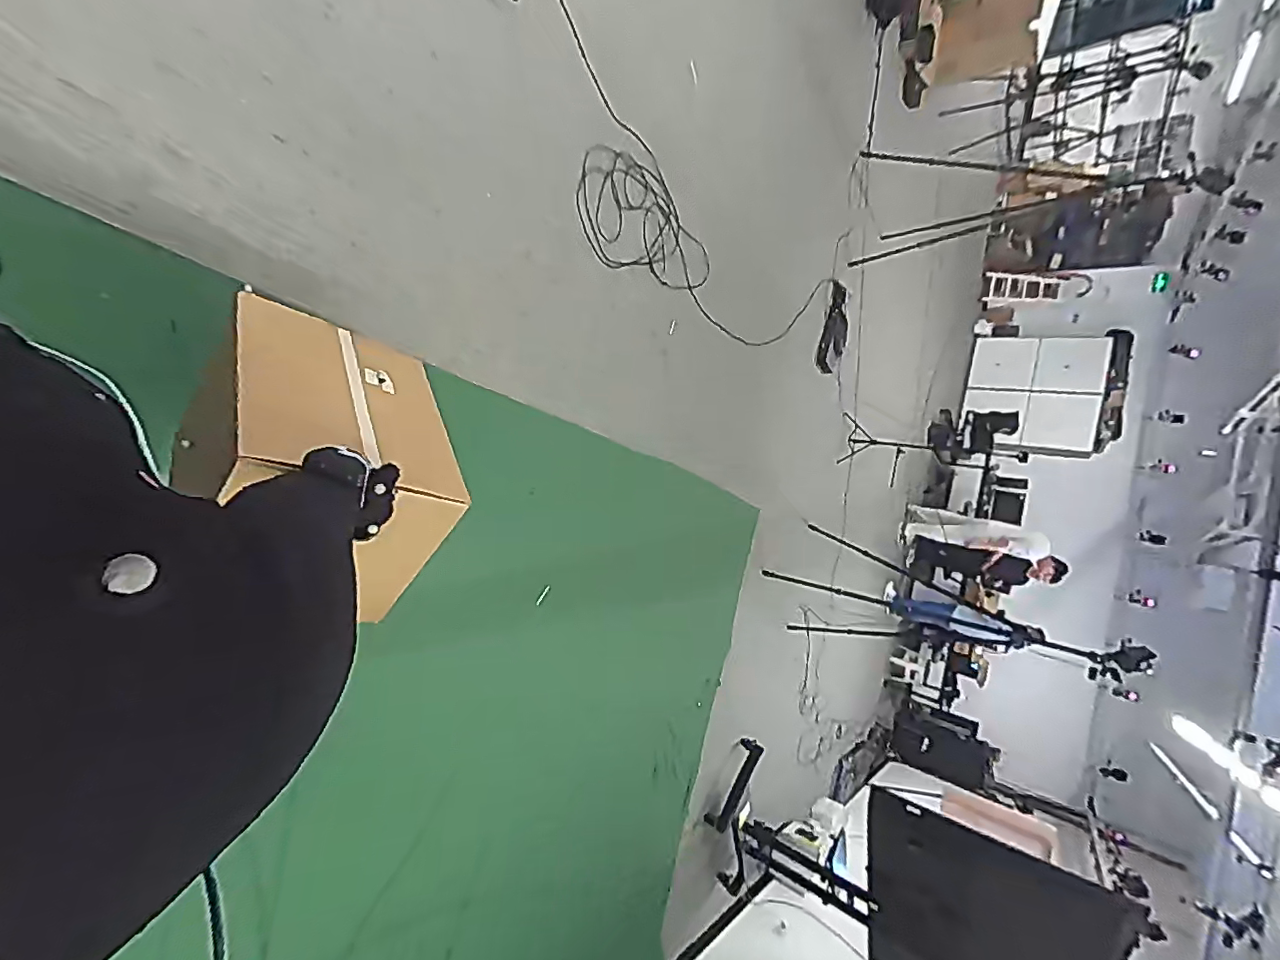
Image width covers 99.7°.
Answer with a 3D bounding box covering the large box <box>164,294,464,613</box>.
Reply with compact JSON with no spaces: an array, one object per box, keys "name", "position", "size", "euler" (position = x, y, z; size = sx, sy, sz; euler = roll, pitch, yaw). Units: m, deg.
[{"name":"large box","position":[-0.558,-0.028,0.916],"size":[0.320,0.408,0.320],"euler":[-47,142,19]}]
